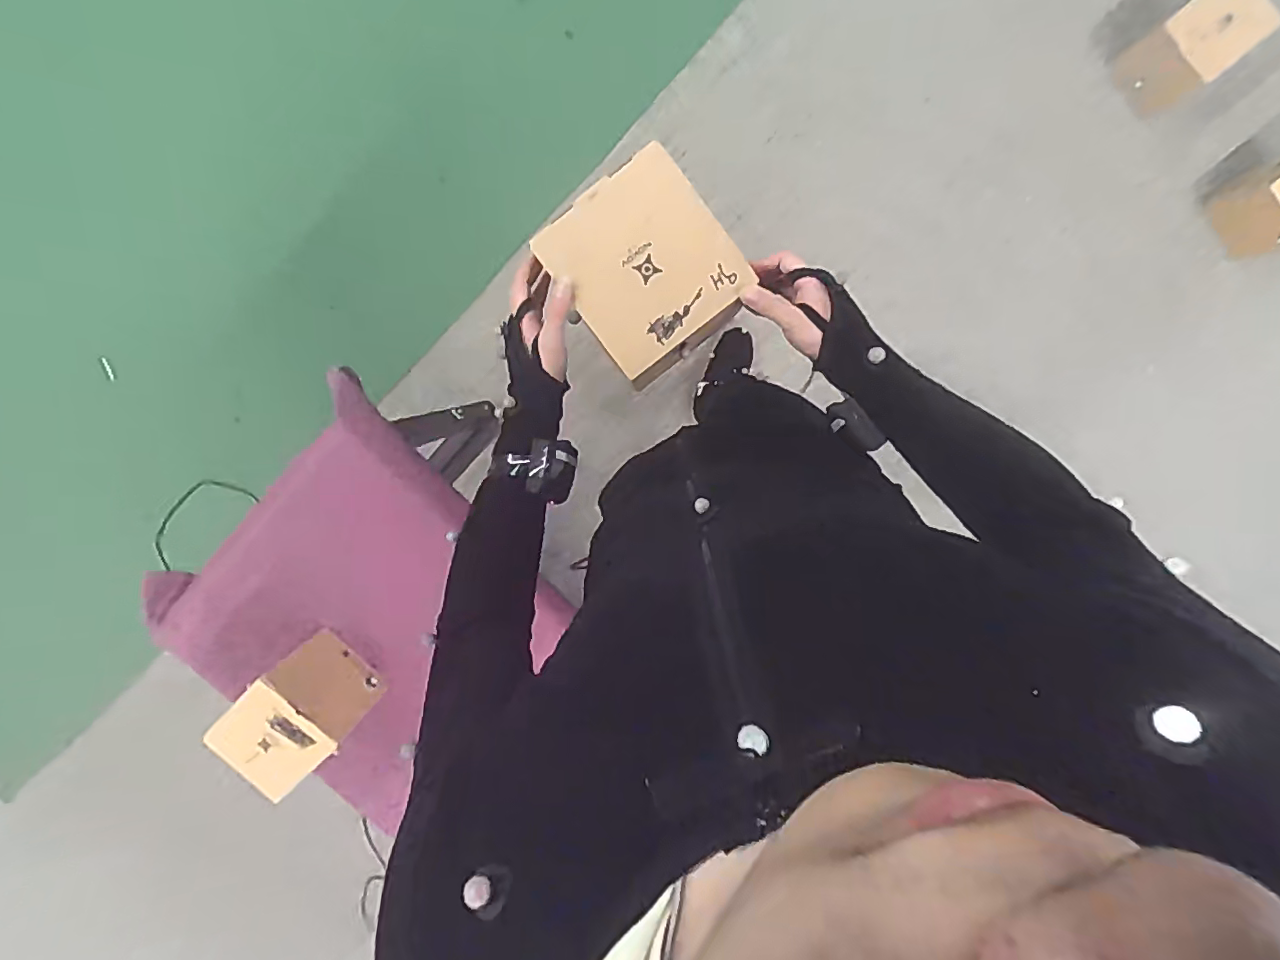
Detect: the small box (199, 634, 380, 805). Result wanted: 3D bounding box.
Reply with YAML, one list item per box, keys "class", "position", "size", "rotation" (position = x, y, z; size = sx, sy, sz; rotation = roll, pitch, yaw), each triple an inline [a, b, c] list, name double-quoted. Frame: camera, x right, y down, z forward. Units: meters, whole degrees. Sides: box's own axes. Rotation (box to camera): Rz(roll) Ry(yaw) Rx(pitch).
- class: "small box"
  position: [-0.591, 0.406, 0.942]
  size: [0.179, 0.176, 0.168]
  rotation: [-43, 96, 13]

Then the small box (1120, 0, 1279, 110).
- class: "small box"
  position: [1.246, -0.984, 1.202]
  size: [0.179, 0.176, 0.168]
  rotation: [-40, 96, 12]

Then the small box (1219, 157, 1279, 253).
- class: "small box"
  position: [1.527, -0.657, 1.251]
  size: [0.168, 0.176, 0.179]
  rotation: [-40, 97, 12]
